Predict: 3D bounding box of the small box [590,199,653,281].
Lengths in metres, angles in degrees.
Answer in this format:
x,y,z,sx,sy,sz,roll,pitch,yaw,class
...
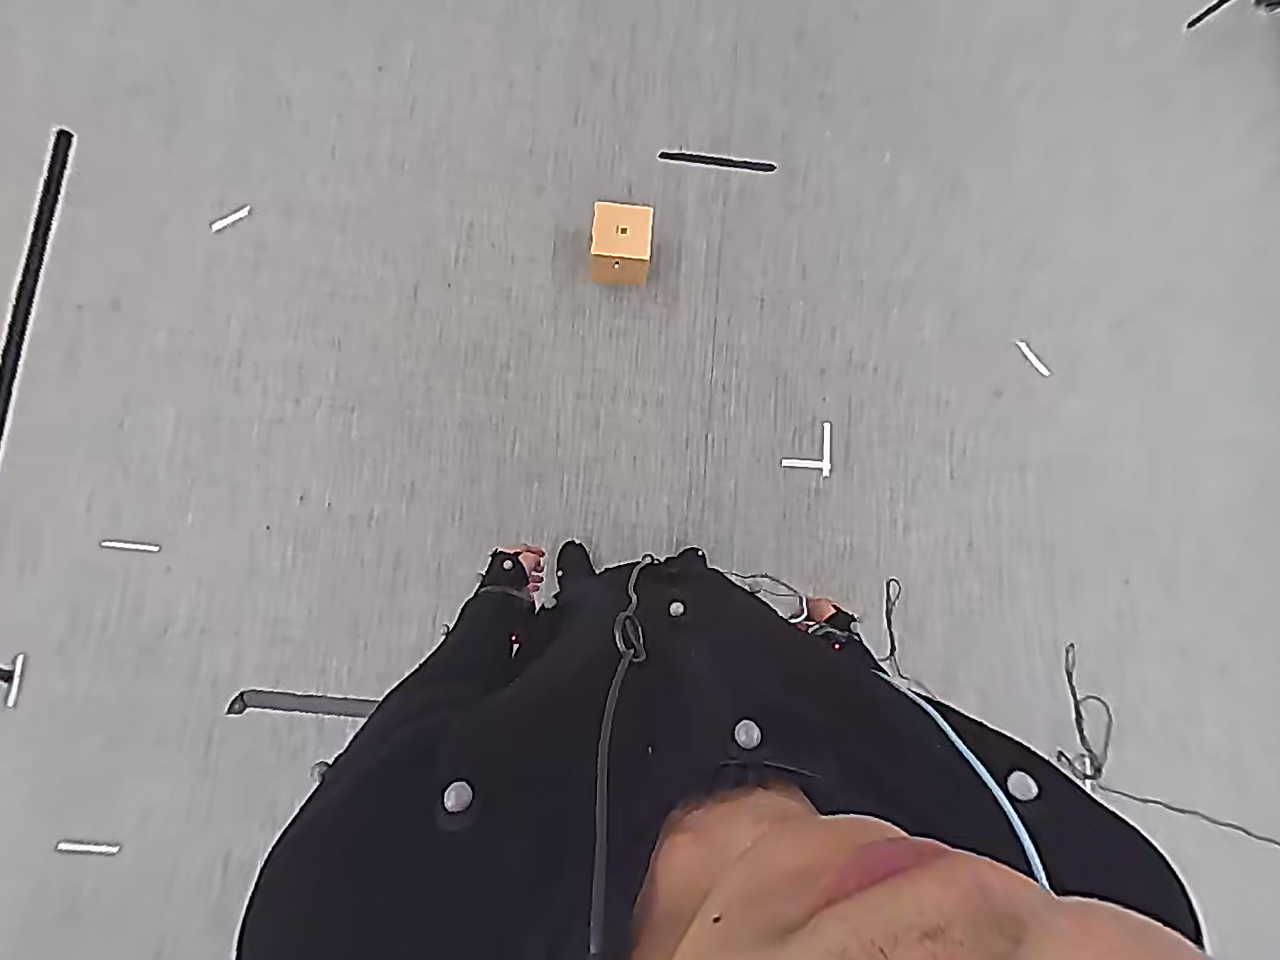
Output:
x,y,z,sx,sy,sz,roll,pitch,yaw,class
-0.059,-0.731,1.663,0.179,0.176,0.168,4,85,-3,small box
